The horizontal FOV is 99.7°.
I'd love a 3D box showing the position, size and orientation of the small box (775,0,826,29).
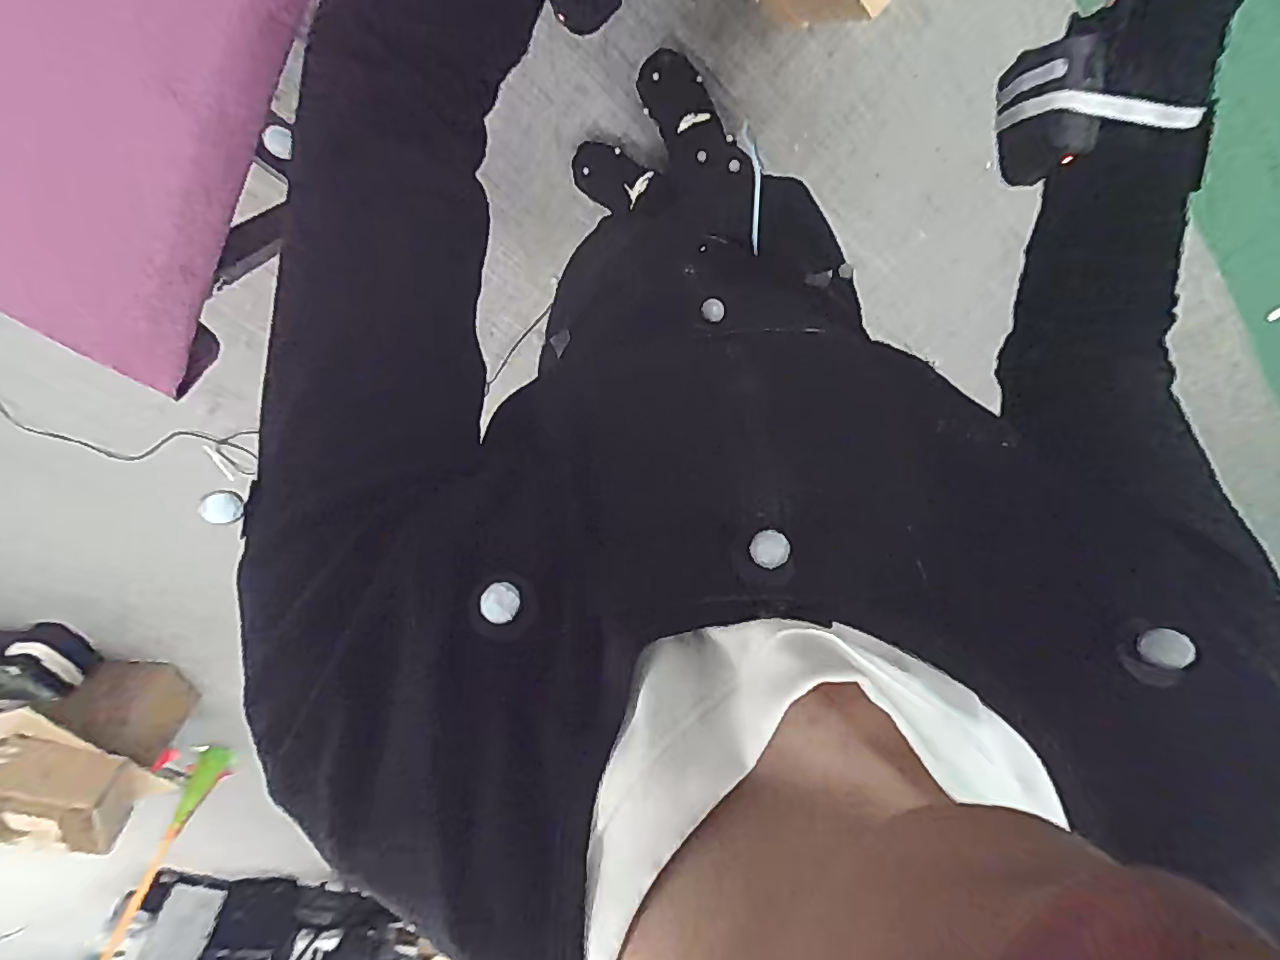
[{"bbox_3d":[0.260,-0.809,0.785,0.179,0.176,0.168,37,120,-26],"label":"small box"}]
